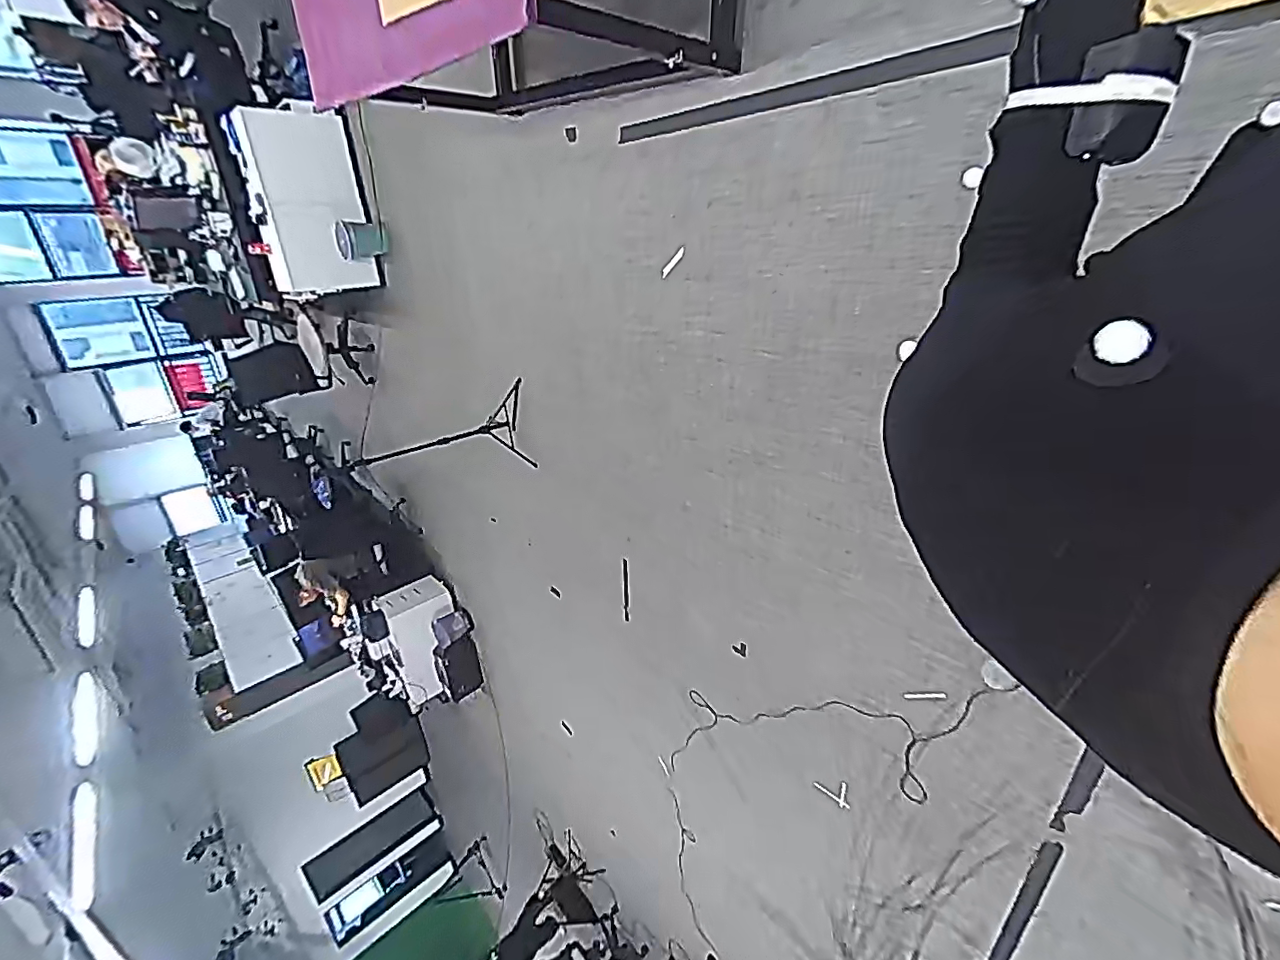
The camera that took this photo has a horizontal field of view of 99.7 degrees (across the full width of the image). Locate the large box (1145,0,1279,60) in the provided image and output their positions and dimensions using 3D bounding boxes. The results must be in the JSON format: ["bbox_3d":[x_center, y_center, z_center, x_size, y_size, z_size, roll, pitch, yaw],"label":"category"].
[{"bbox_3d":[0.532,-0.426,0.230,0.408,0.320,0.320,17,130,41],"label":"large box"}]
